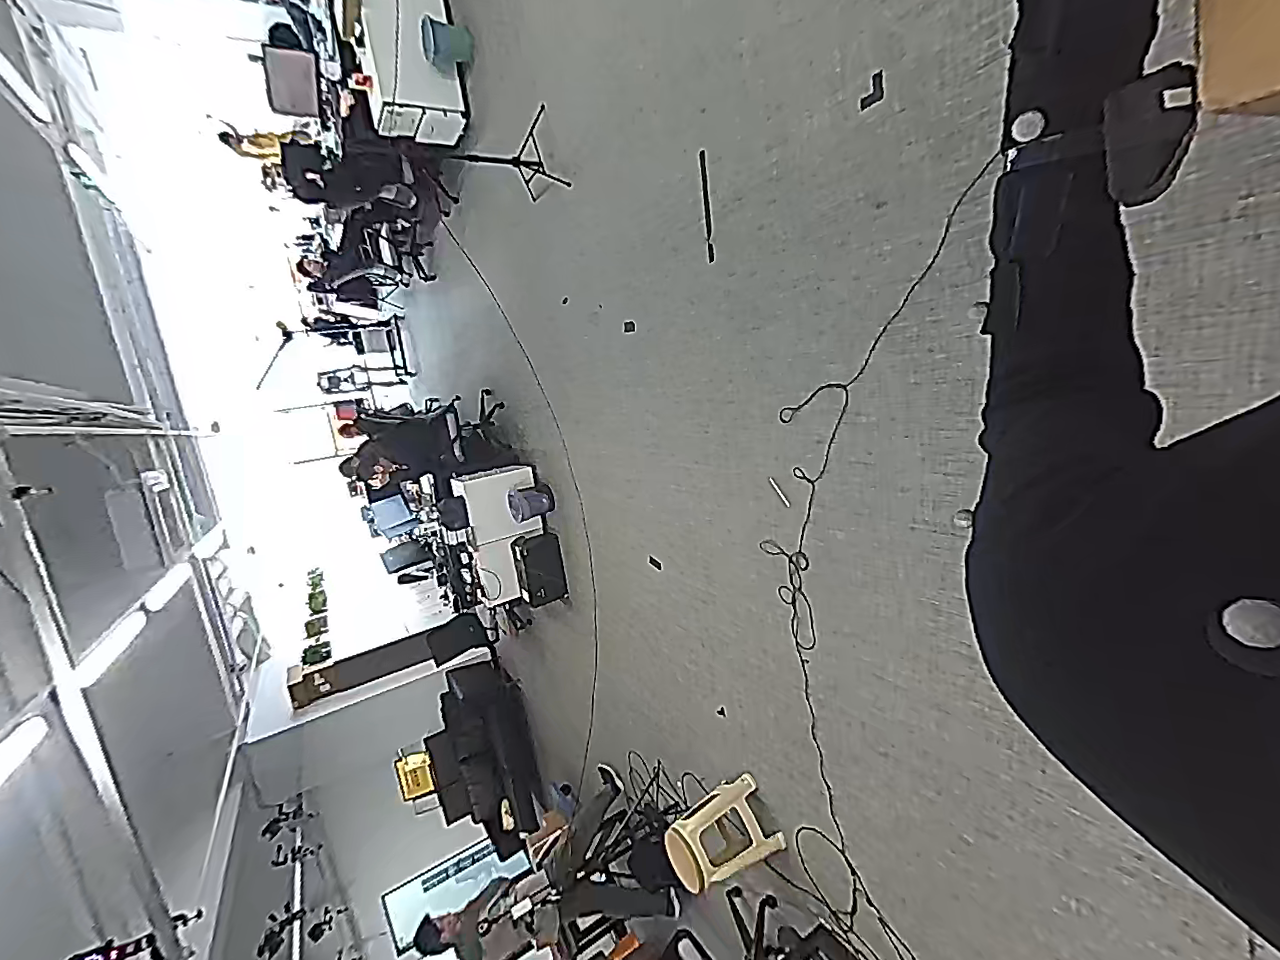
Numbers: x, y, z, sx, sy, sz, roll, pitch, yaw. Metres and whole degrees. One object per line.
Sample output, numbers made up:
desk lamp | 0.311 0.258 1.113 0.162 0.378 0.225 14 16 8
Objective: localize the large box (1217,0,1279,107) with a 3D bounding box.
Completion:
large box | 0.496 -0.379 0.164 0.408 0.320 0.320 6 115 57
